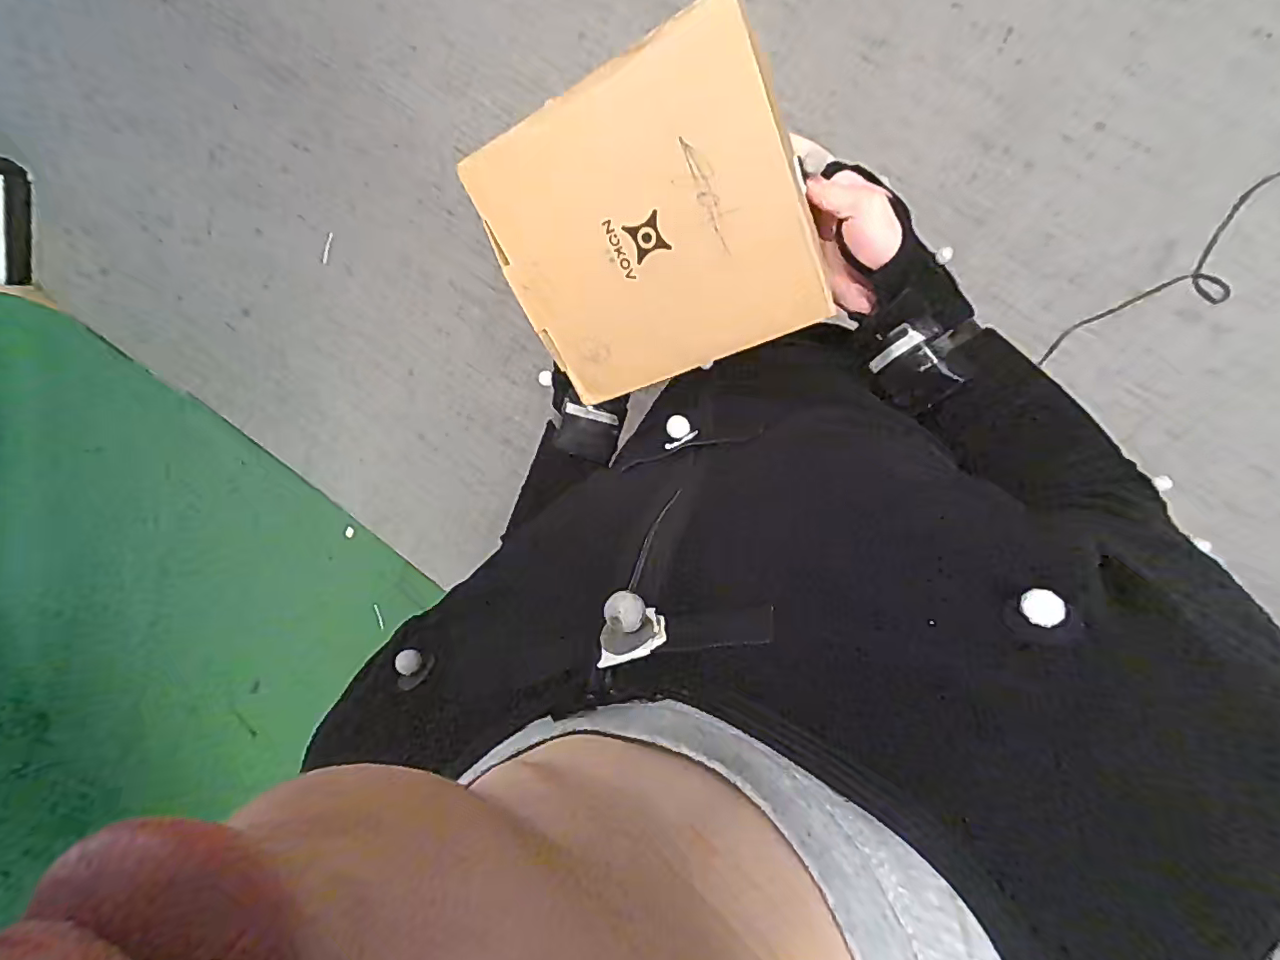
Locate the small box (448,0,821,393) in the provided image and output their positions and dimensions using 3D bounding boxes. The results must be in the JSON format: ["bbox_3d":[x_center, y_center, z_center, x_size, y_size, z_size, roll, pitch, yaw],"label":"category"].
[{"bbox_3d":[0.015,-0.188,0.373,0.179,0.176,0.168,-17,118,25],"label":"small box"}]
